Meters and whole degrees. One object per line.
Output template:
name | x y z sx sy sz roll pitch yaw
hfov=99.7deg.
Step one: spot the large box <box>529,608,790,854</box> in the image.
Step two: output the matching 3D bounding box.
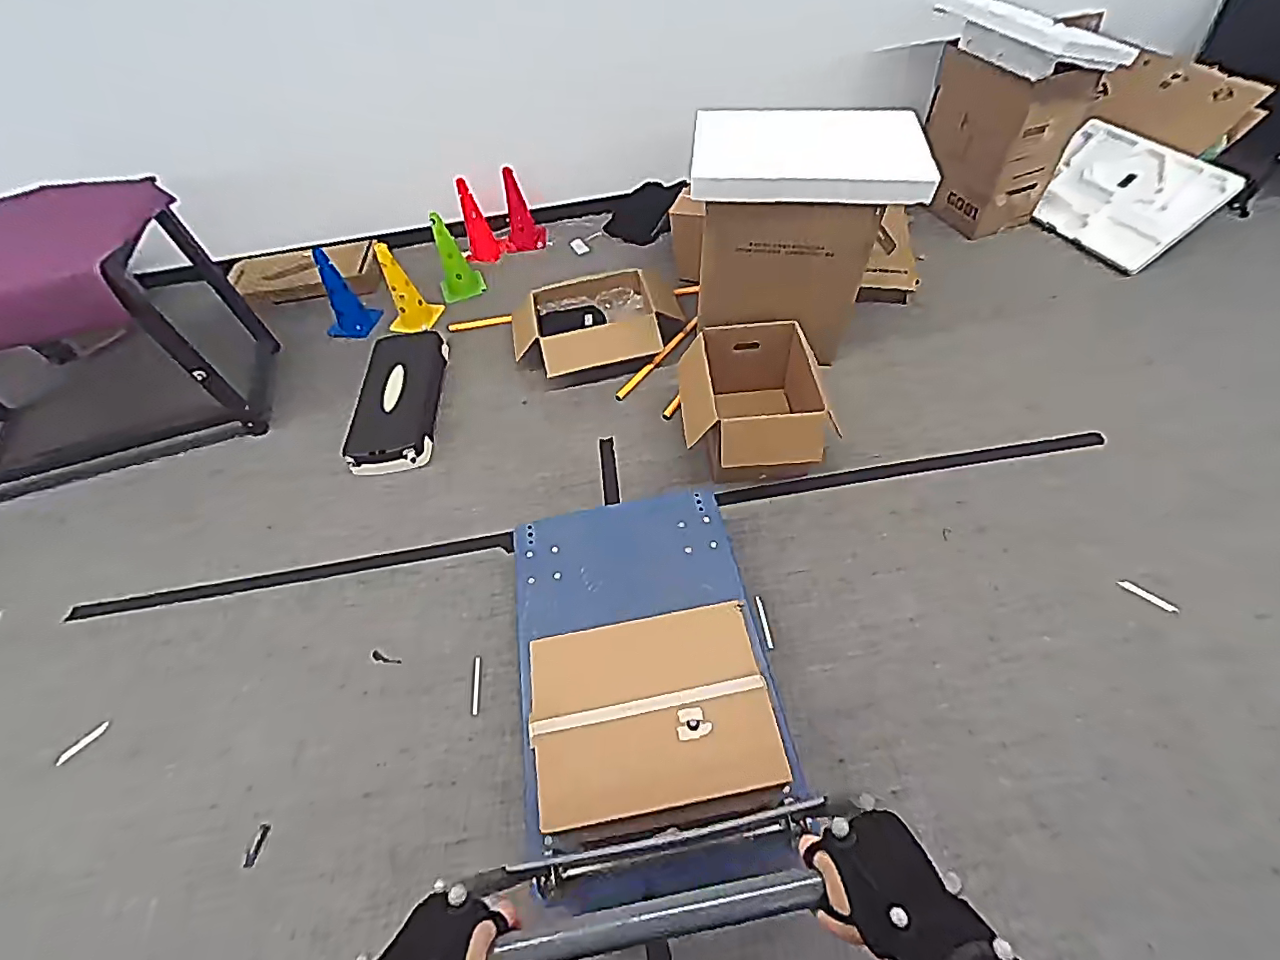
large box | 0.024 0.488 1.041 0.408 0.320 0.320 -11 54 -3
